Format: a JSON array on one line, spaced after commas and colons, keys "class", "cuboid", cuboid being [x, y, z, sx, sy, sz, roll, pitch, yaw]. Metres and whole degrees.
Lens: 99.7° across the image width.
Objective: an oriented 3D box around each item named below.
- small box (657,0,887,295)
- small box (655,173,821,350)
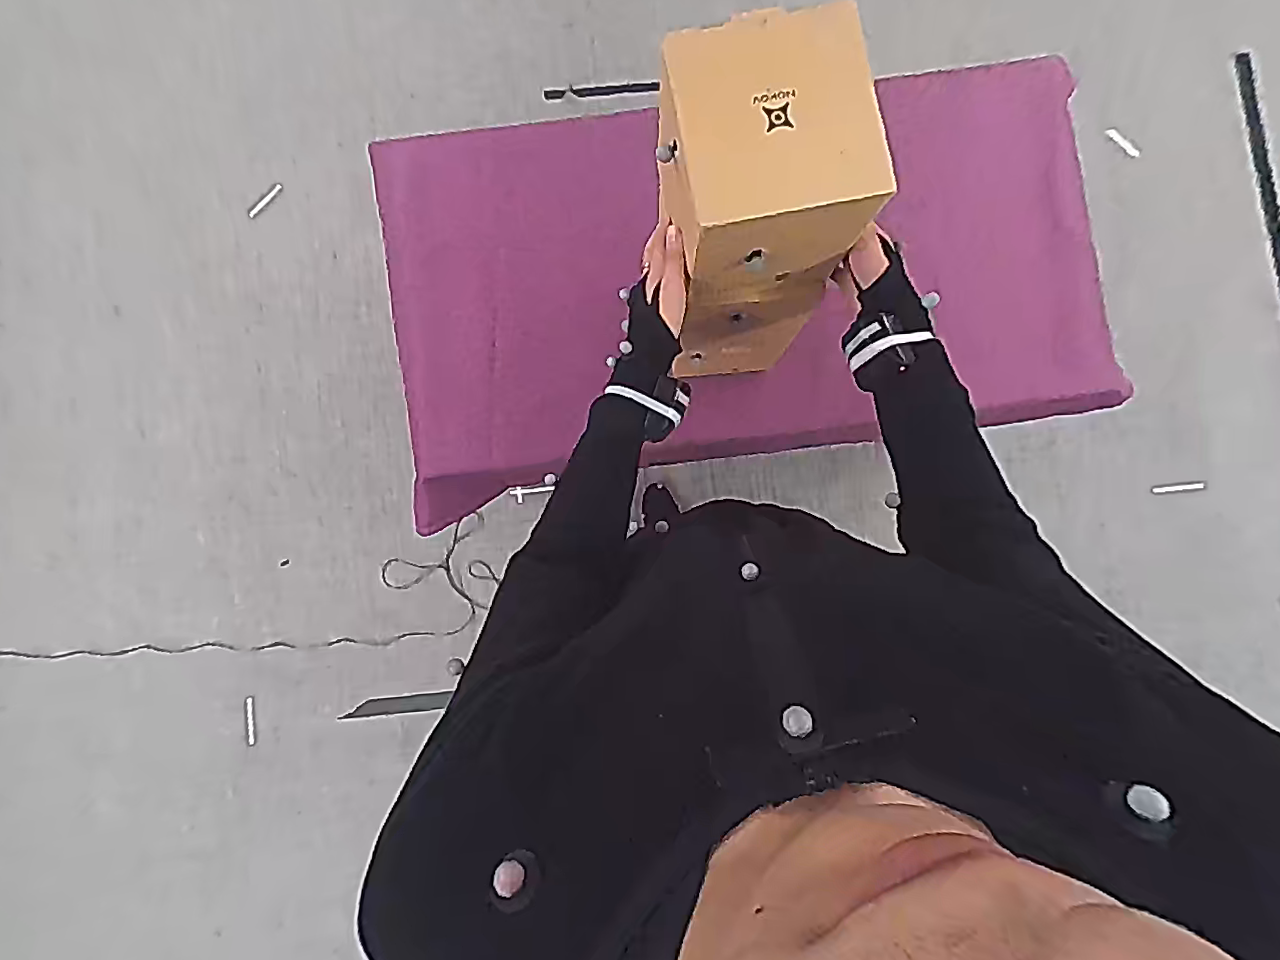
[{"class": "small box", "cuboid": [0.112, -0.298, 0.528, 0.168, 0.176, 0.179, -10, 85, 0]}, {"class": "small box", "cuboid": [0.112, -0.273, 0.691, 0.179, 0.176, 0.168, -5, 87, 0]}]
